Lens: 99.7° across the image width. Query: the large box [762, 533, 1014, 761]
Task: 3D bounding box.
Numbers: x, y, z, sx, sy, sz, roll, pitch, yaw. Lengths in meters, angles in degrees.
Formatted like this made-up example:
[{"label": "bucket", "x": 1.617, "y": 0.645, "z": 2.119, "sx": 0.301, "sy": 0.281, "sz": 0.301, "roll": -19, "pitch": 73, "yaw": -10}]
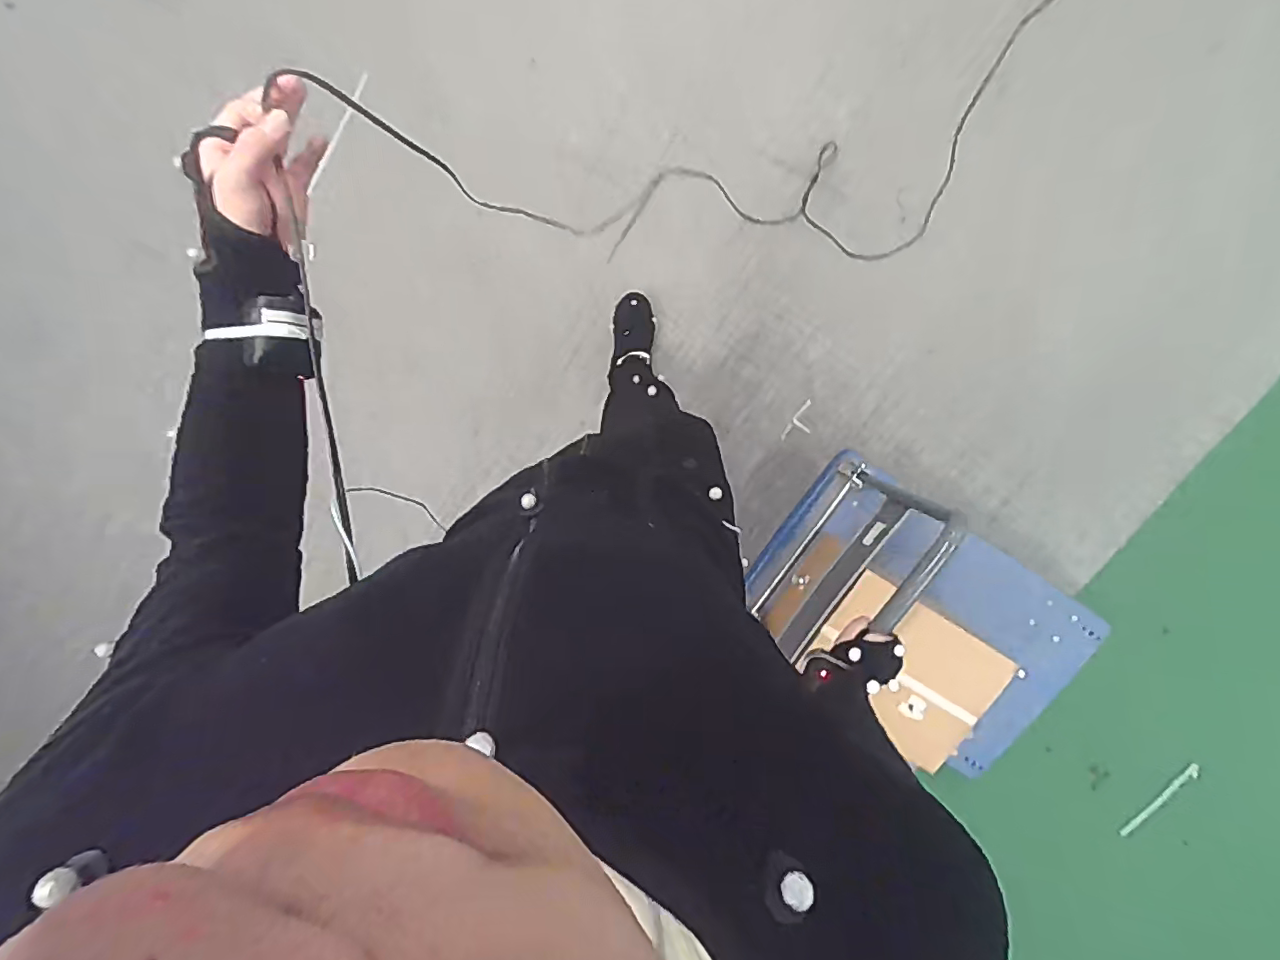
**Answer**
[{"label": "large box", "x": 0.574, "y": 0.385, "z": 1.336, "sx": 0.408, "sy": 0.320, "sz": 0.320, "roll": 32, "pitch": 100, "yaw": -3}]
